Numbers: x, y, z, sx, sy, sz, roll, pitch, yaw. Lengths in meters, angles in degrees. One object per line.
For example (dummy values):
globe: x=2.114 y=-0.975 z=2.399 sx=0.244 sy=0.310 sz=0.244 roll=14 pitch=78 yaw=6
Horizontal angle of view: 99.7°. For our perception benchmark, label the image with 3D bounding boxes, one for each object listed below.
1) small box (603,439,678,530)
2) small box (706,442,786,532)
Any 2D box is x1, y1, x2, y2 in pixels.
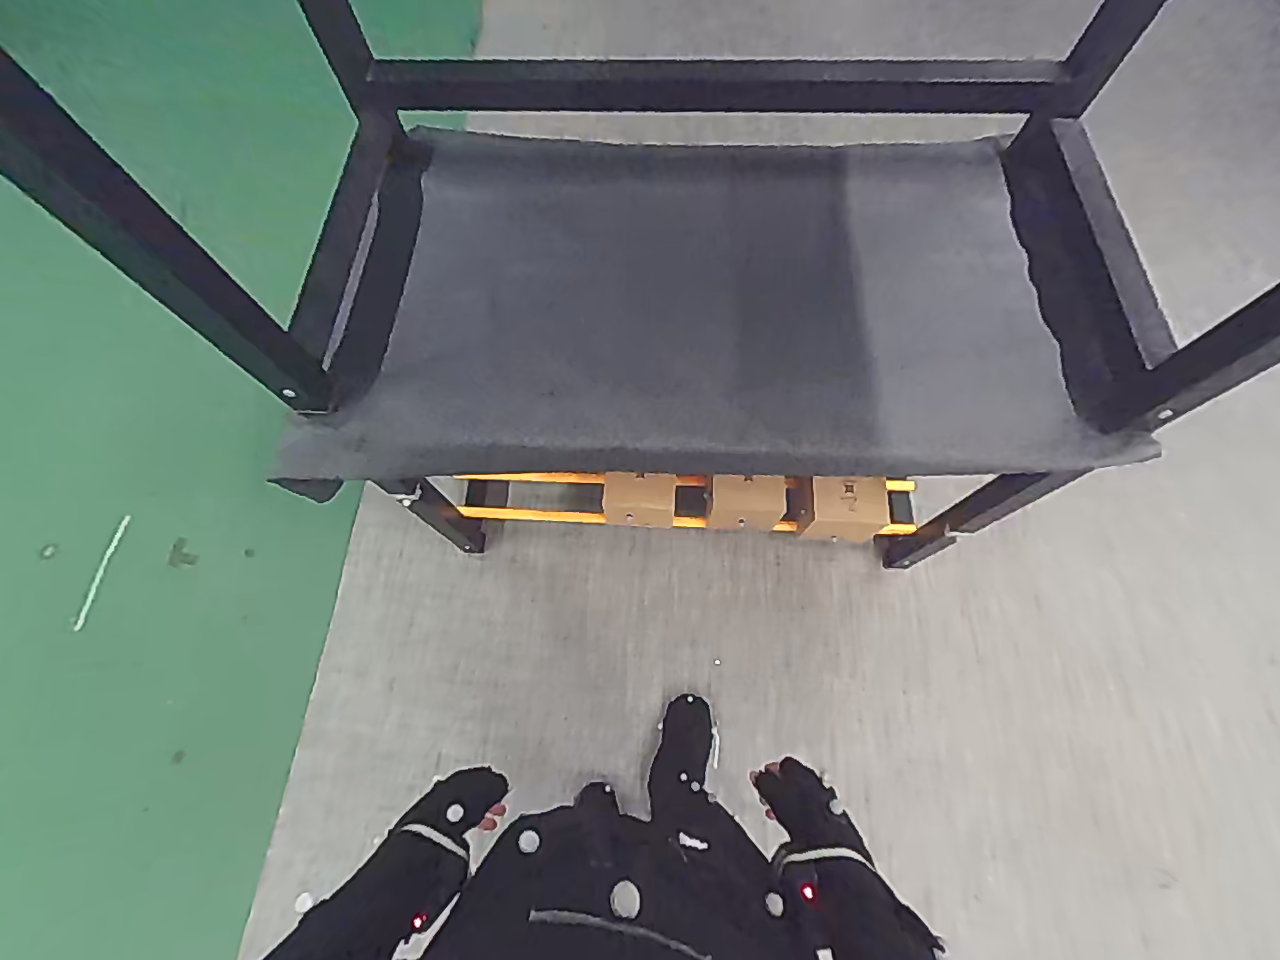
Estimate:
small box: x=0.005 y=0.017 z=1.315 sx=0.168 sy=0.176 sz=0.179 roll=3 pitch=69 yaw=2
small box: x=0.251 y=0.022 z=1.306 sx=0.168 sy=0.176 sz=0.179 roll=2 pitch=68 yaw=2
